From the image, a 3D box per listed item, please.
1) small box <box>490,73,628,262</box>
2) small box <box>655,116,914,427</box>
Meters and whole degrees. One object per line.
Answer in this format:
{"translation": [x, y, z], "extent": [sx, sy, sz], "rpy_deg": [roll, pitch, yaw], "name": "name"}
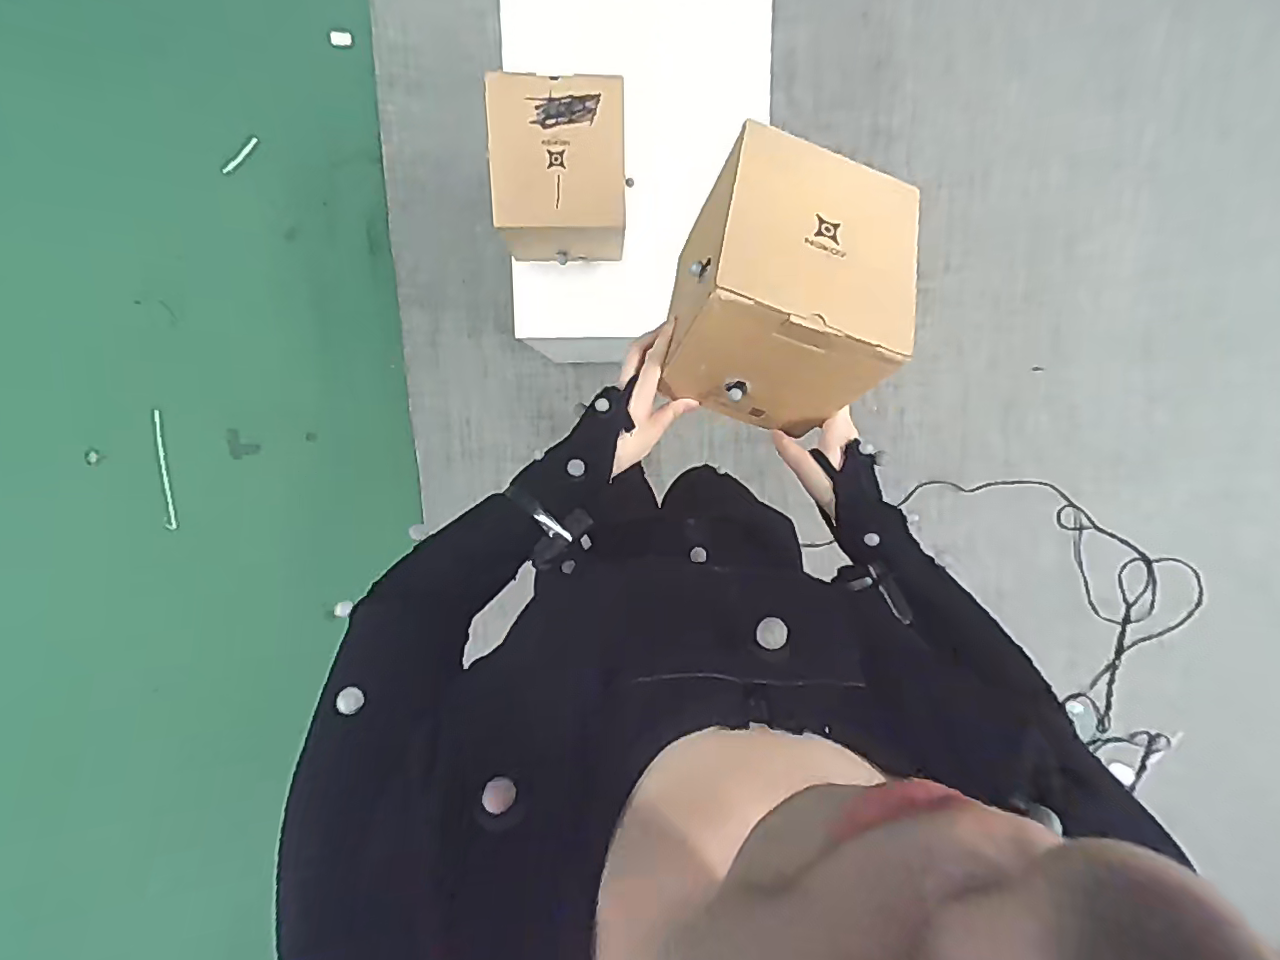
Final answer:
{"translation": [-0.102, -0.409, 0.735], "extent": [0.168, 0.176, 0.179], "rpy_deg": [-1, 99, -3], "name": "small box"}
{"translation": [0.123, -0.175, 0.501], "extent": [0.168, 0.176, 0.179], "rpy_deg": [16, 71, -10], "name": "small box"}
